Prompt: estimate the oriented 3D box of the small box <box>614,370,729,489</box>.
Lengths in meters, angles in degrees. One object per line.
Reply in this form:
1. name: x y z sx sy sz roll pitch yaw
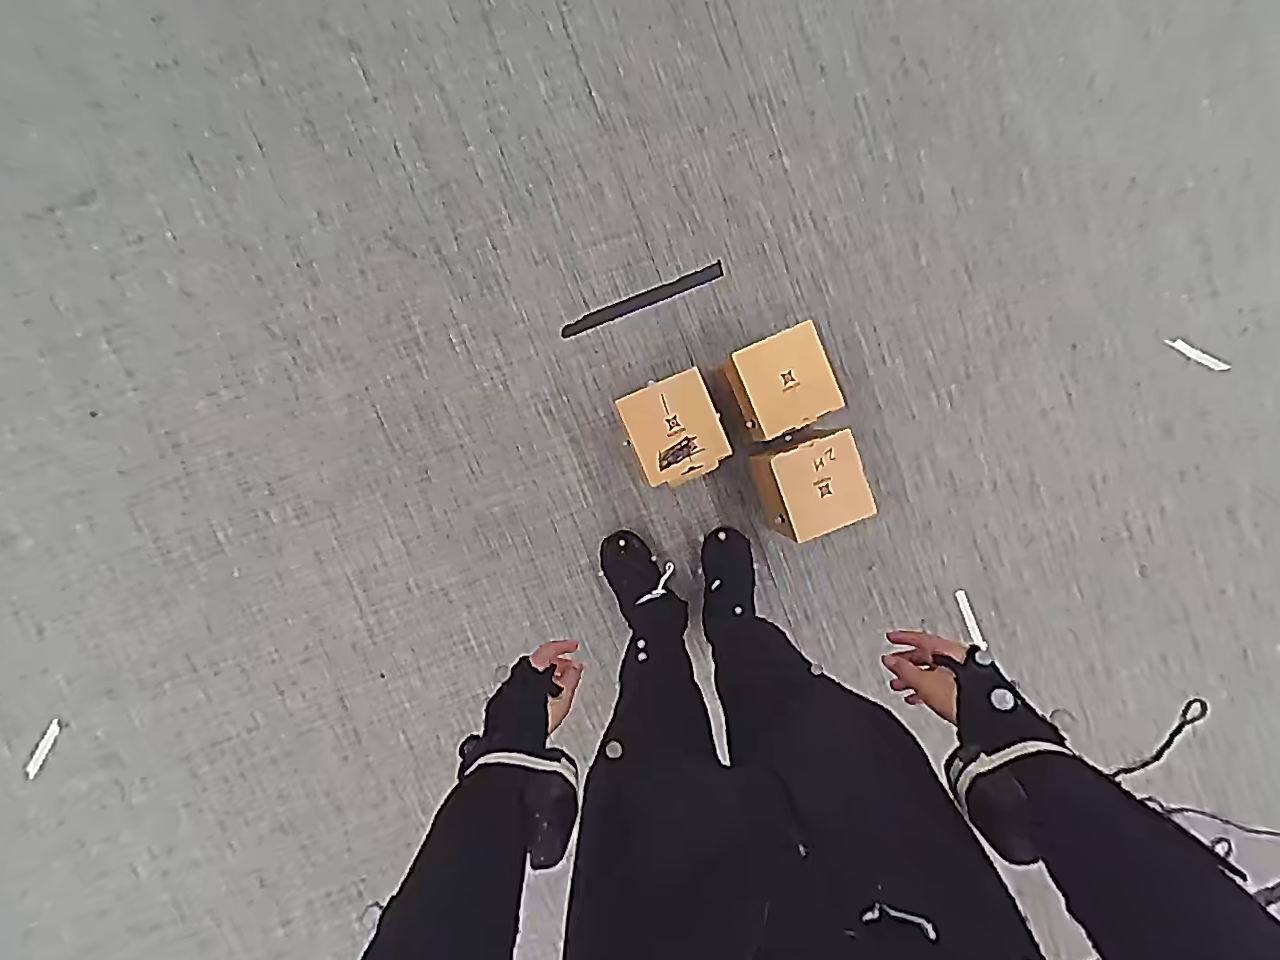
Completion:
1. small box: 0.056 -0.097 1.064 0.168 0.176 0.179 -23 94 -2
